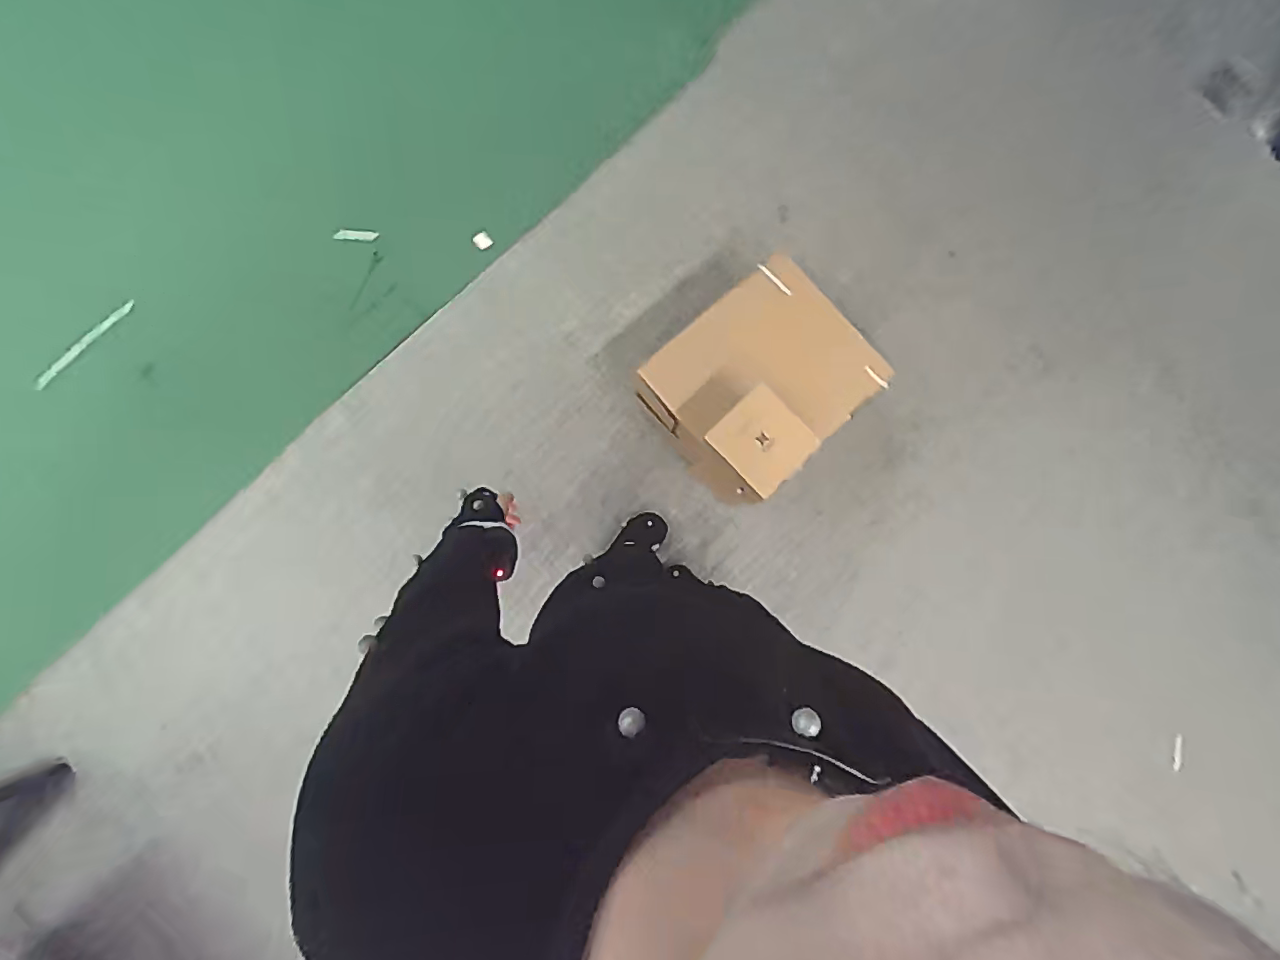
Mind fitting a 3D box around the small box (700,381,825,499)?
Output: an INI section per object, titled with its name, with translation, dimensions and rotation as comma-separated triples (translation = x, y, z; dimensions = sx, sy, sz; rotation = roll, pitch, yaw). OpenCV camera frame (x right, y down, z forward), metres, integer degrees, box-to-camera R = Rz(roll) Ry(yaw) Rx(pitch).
[small box]
translation = 0.246, -0.075, 1.135
dimensions = 0.168, 0.176, 0.179
rotation = -43, 86, -4
